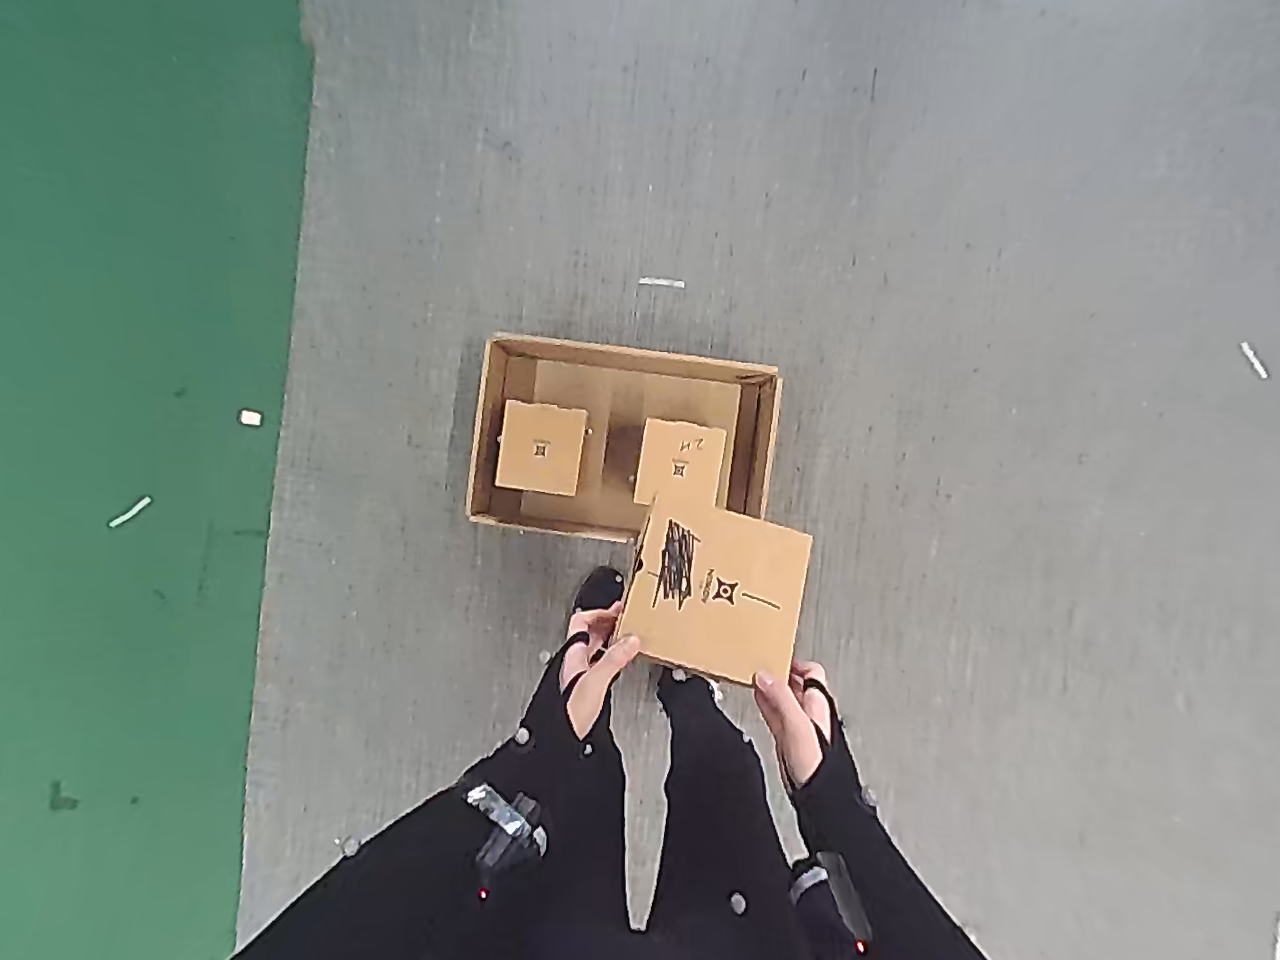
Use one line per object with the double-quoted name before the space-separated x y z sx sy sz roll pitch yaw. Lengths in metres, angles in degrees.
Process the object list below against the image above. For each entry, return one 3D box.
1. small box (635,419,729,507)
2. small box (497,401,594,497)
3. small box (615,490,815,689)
"small box" 0.086 -0.025 1.157 0.168 0.176 0.179 9 91 1
"small box" -0.194 -0.062 1.160 0.168 0.176 0.179 8 89 0
"small box" 0.075 0.132 0.622 0.179 0.176 0.168 17 71 0
